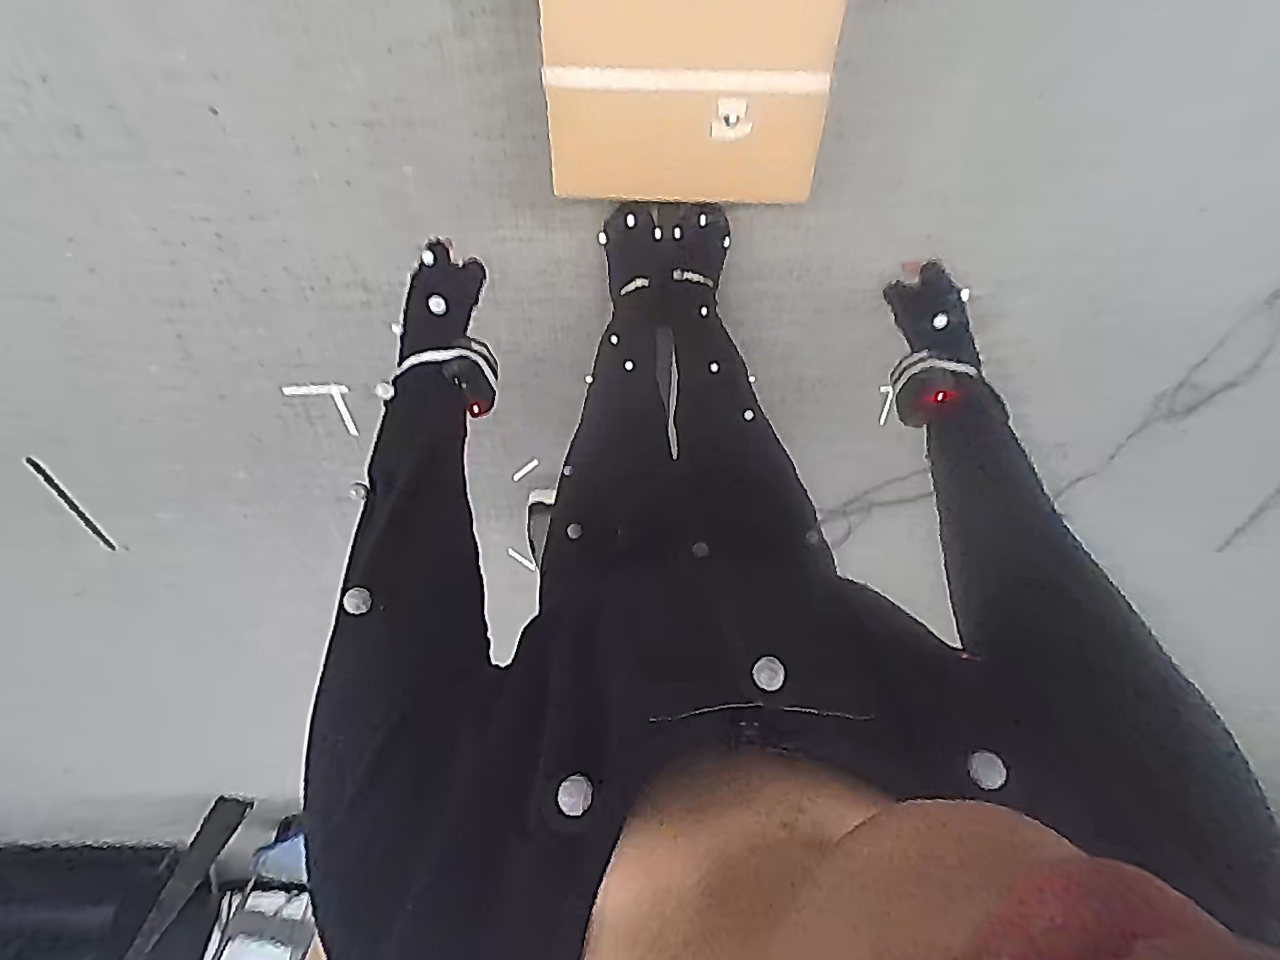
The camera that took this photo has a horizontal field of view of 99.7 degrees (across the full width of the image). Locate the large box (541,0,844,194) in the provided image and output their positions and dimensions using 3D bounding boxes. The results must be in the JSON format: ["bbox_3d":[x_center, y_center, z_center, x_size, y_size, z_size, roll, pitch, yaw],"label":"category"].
[{"bbox_3d":[0.066,-0.665,0.869,0.408,0.320,0.320,0,130,-1],"label":"large box"}]
